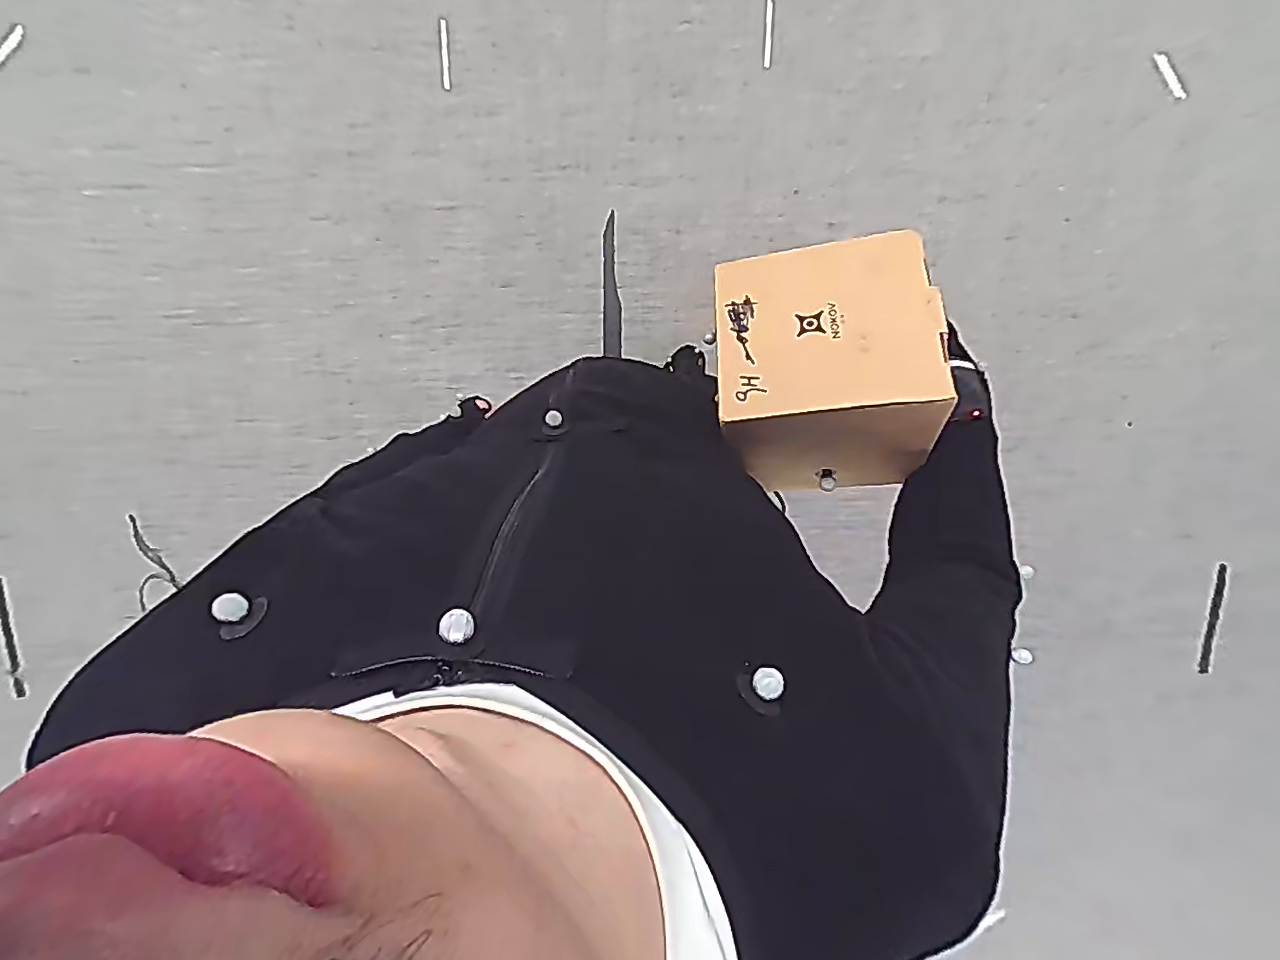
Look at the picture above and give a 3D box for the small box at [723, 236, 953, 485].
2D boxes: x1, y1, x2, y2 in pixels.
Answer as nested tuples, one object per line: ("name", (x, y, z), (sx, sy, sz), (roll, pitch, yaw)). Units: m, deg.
("small box", (0.178, -0.103, 0.532), (0.179, 0.176, 0.168), (-4, 66, 14))
